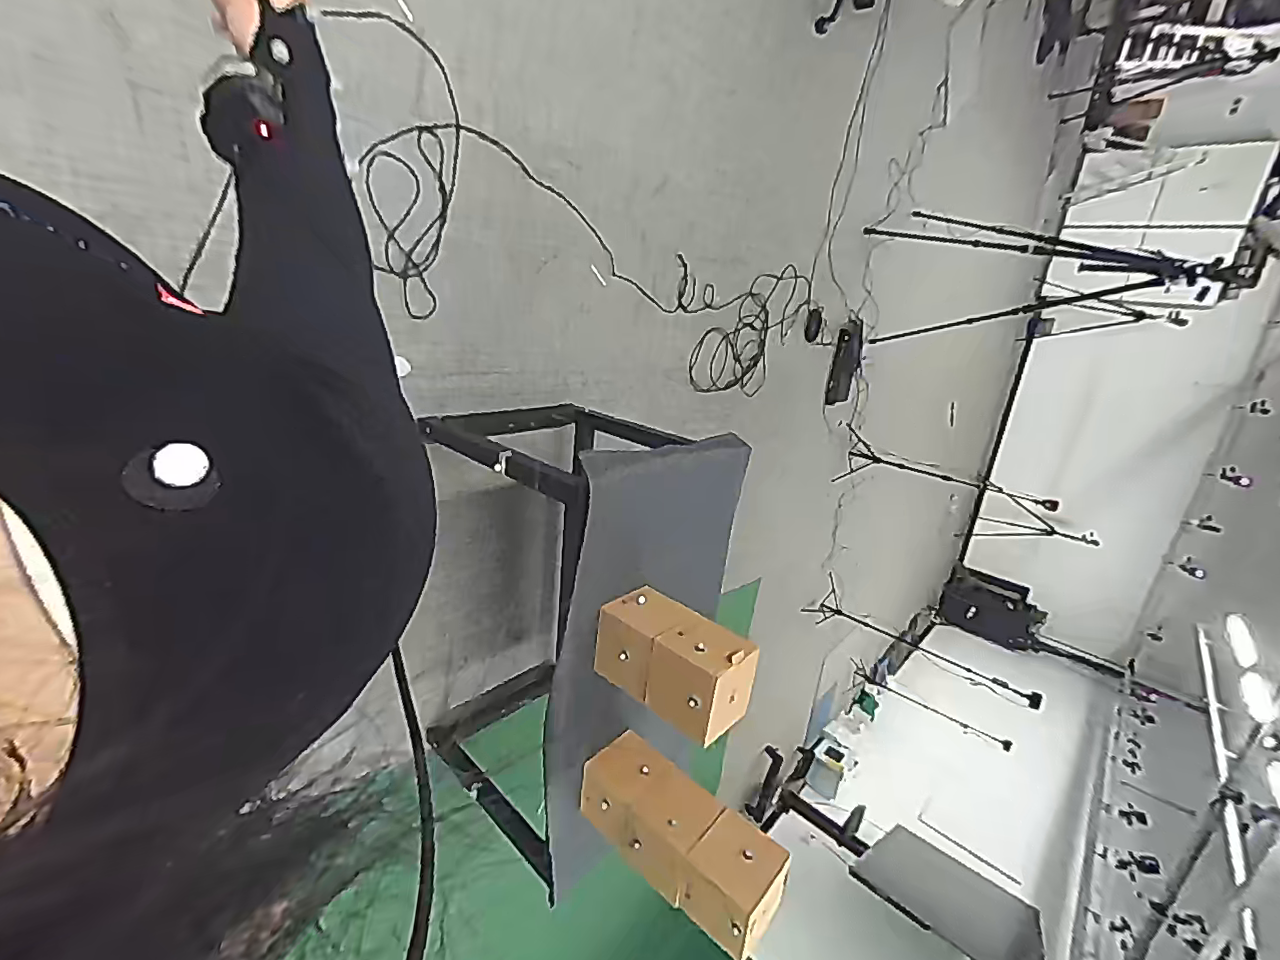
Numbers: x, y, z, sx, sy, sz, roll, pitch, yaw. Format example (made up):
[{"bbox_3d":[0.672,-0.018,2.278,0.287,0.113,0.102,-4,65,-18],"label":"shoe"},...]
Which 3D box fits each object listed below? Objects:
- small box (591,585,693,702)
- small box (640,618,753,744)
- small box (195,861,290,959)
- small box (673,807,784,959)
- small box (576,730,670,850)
[{"bbox_3d":[0.000,0.375,1.271,0.168,0.176,0.179,-13,116,-47],"label":"small box"},{"bbox_3d":[0.119,0.418,1.169,0.168,0.176,0.179,-11,115,-47],"label":"small box"},{"bbox_3d":[-1.115,1.214,1.511,0.168,0.176,0.179,11,98,-50],"label":"small box"},{"bbox_3d":[0.197,0.886,1.207,0.179,0.176,0.168,-19,120,-46],"label":"small box"},{"bbox_3d":[-0.048,0.797,1.408,0.179,0.176,0.168,-14,117,-47],"label":"small box"}]
